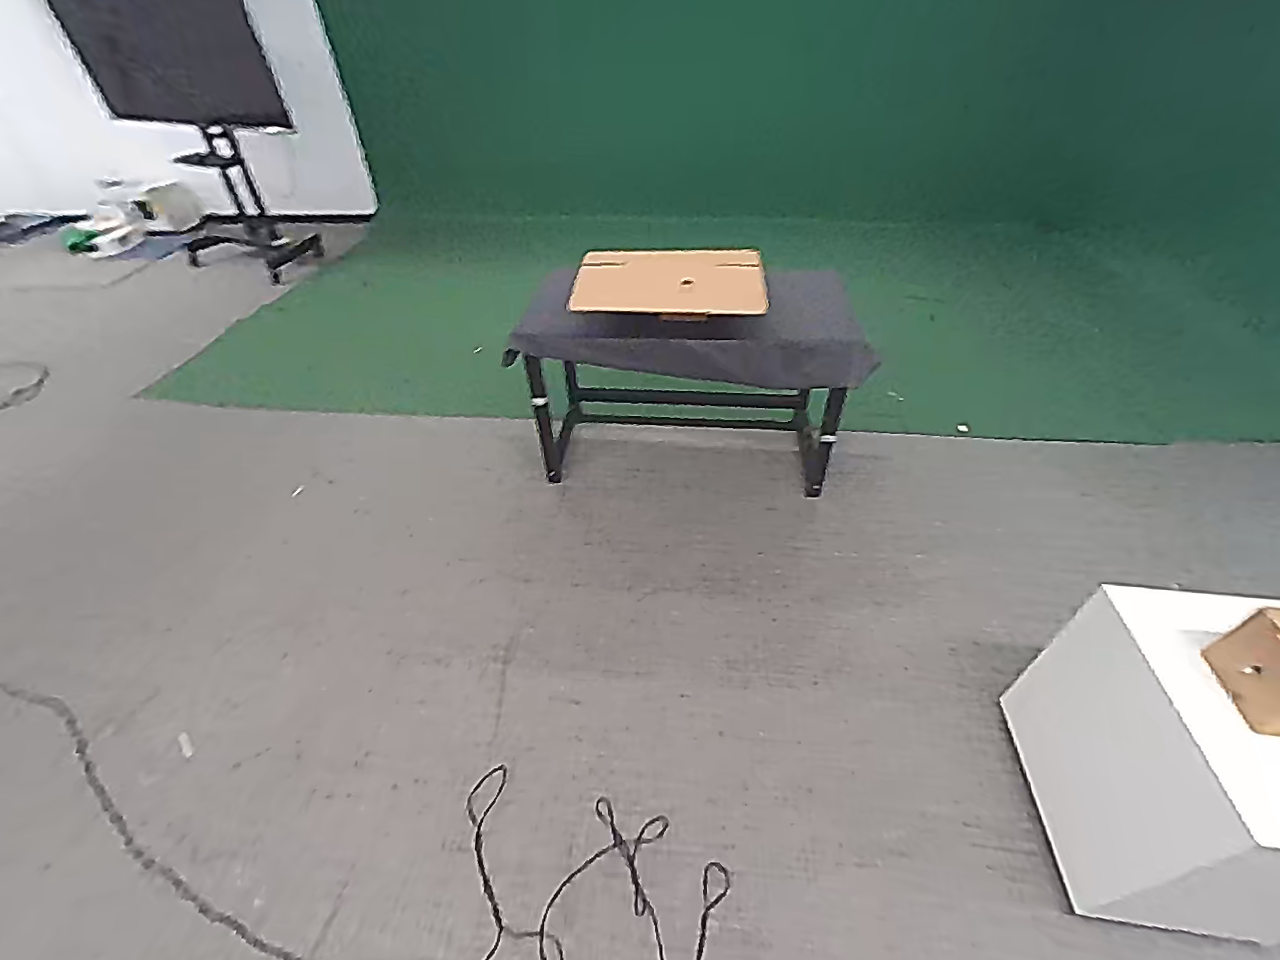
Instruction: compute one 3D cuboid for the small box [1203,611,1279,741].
[{"bbox_3d":[1.186,0.358,0.971,0.179,0.176,0.168,4,41,4],"label":"small box"}]
